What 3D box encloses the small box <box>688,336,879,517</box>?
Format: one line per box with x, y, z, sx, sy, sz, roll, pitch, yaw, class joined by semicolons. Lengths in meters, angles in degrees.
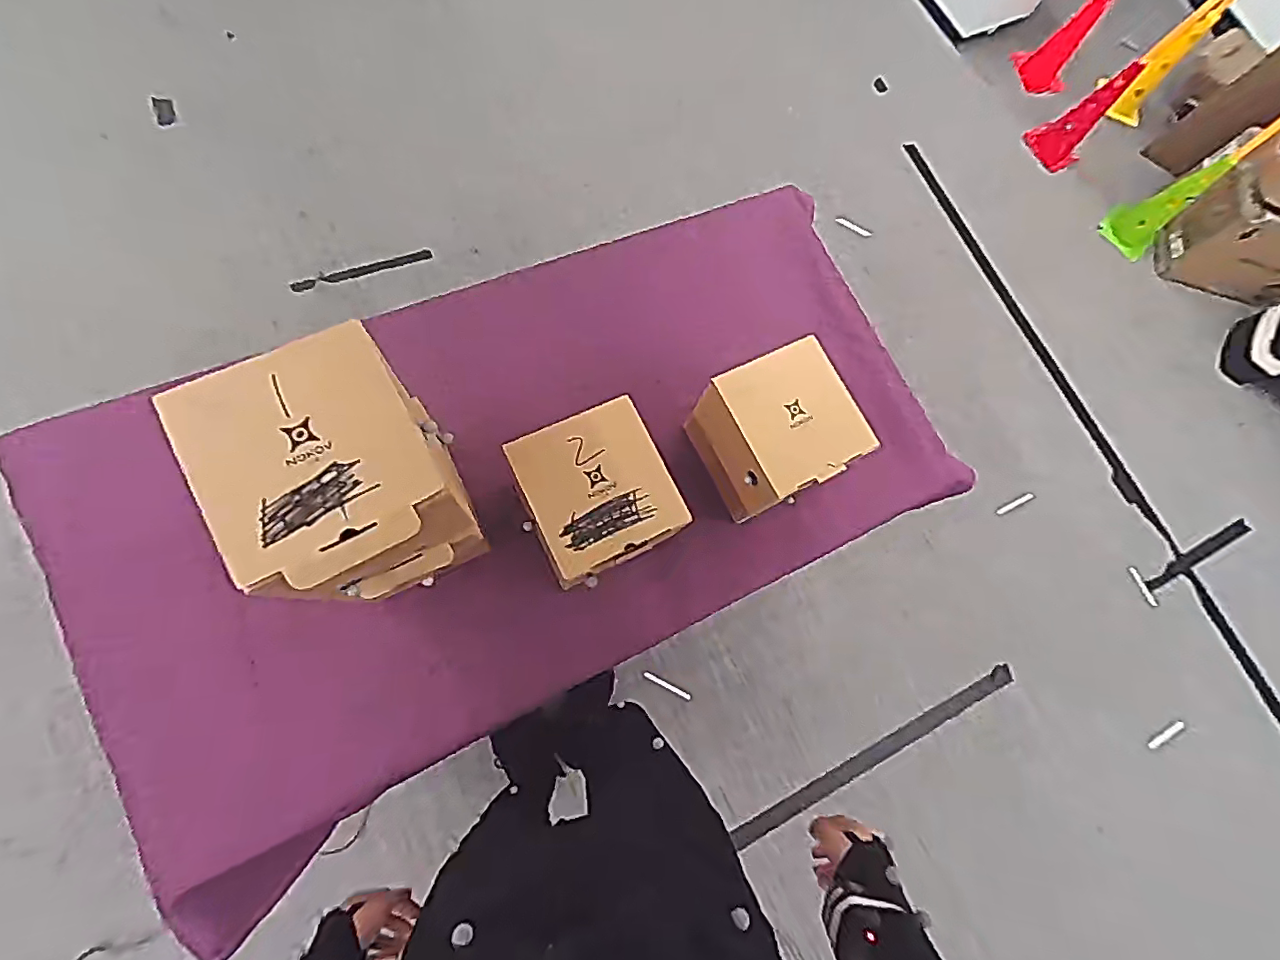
0.189;-0.067;0.770;0.168;0.176;0.179;-25;81;-14;small box

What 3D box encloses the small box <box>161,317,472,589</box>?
-0.275;-0.011;0.506;0.168;0.176;0.179;-28;81;-15;small box

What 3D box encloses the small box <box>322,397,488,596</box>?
-0.300;0.030;0.663;0.168;0.176;0.179;-23;81;-14;small box
